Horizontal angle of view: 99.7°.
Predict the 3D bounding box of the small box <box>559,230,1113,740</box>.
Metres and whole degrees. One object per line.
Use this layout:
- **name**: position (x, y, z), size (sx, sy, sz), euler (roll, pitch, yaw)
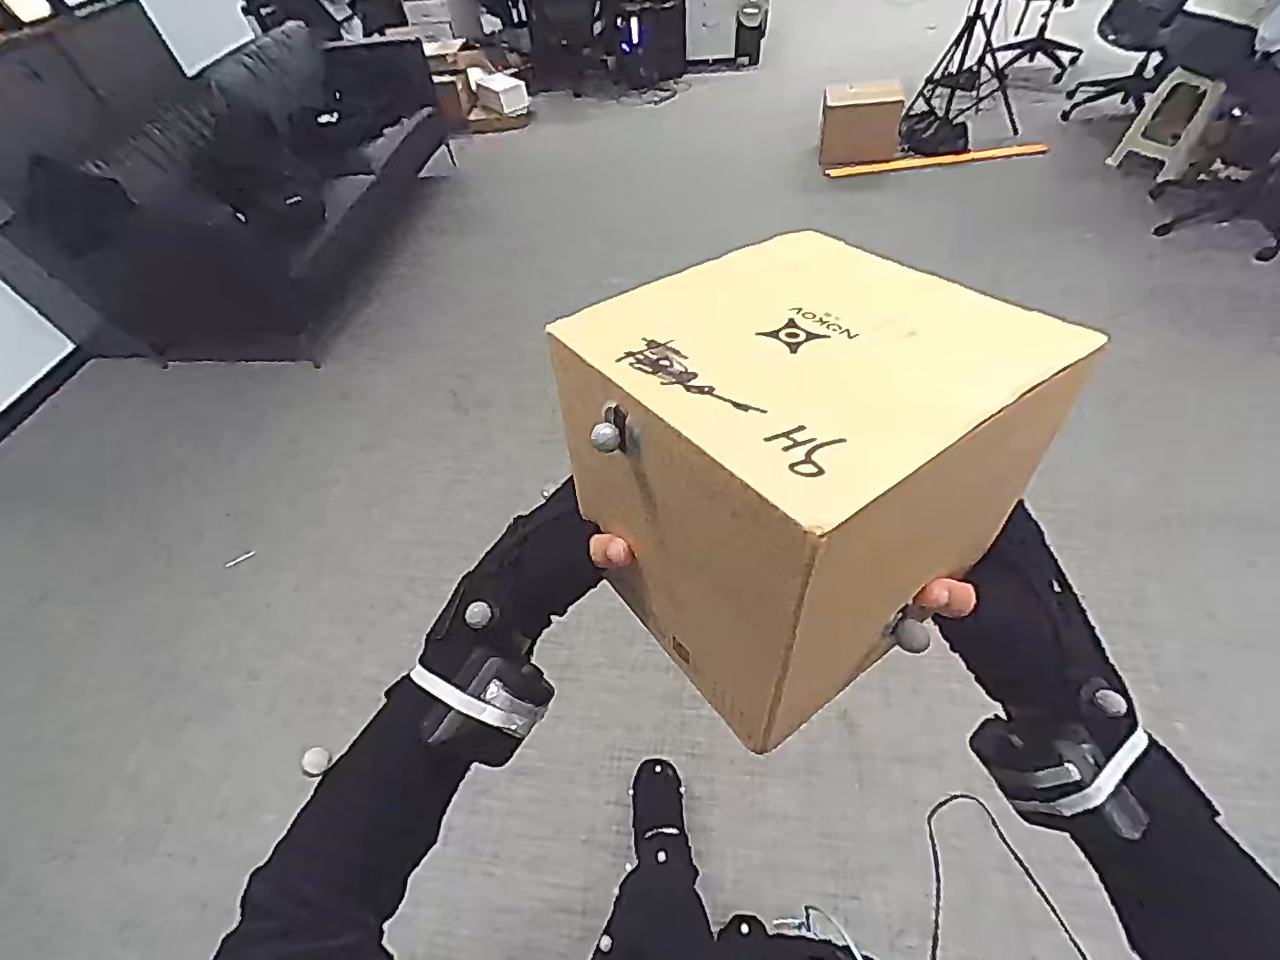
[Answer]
- **small box**: position (0.078, -0.007, 0.286), size (0.179, 0.176, 0.168), euler (-26, 48, -24)
